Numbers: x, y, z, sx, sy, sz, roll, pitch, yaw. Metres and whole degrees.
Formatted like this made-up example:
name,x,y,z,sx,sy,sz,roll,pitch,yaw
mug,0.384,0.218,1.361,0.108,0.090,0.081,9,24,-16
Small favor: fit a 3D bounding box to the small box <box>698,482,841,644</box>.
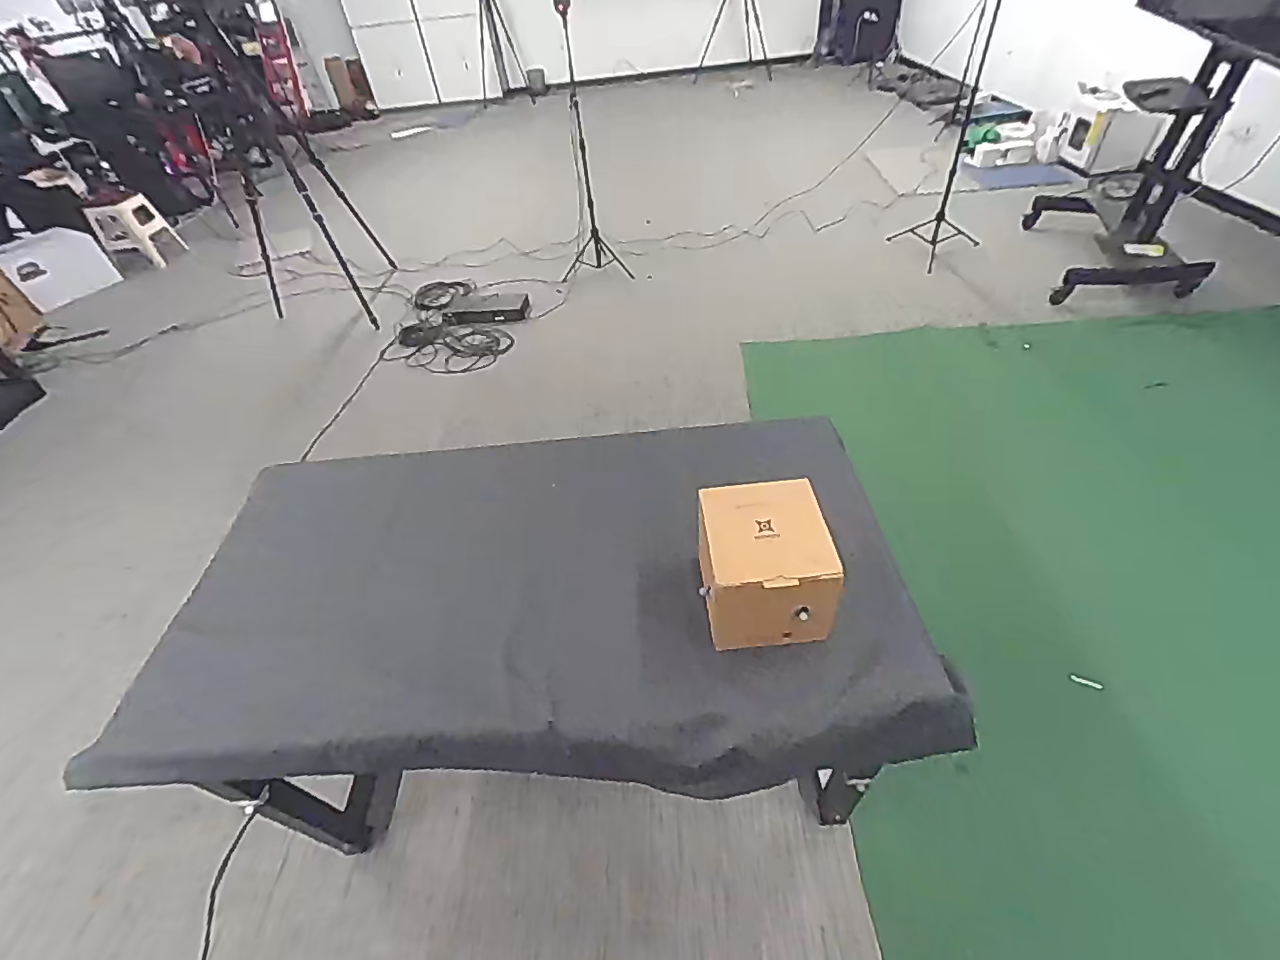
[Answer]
name,x,y,z,sx,sy,sz,roll,pitch,yaw
small box,0.179,0.128,0.799,0.168,0.176,0.179,-6,43,1
